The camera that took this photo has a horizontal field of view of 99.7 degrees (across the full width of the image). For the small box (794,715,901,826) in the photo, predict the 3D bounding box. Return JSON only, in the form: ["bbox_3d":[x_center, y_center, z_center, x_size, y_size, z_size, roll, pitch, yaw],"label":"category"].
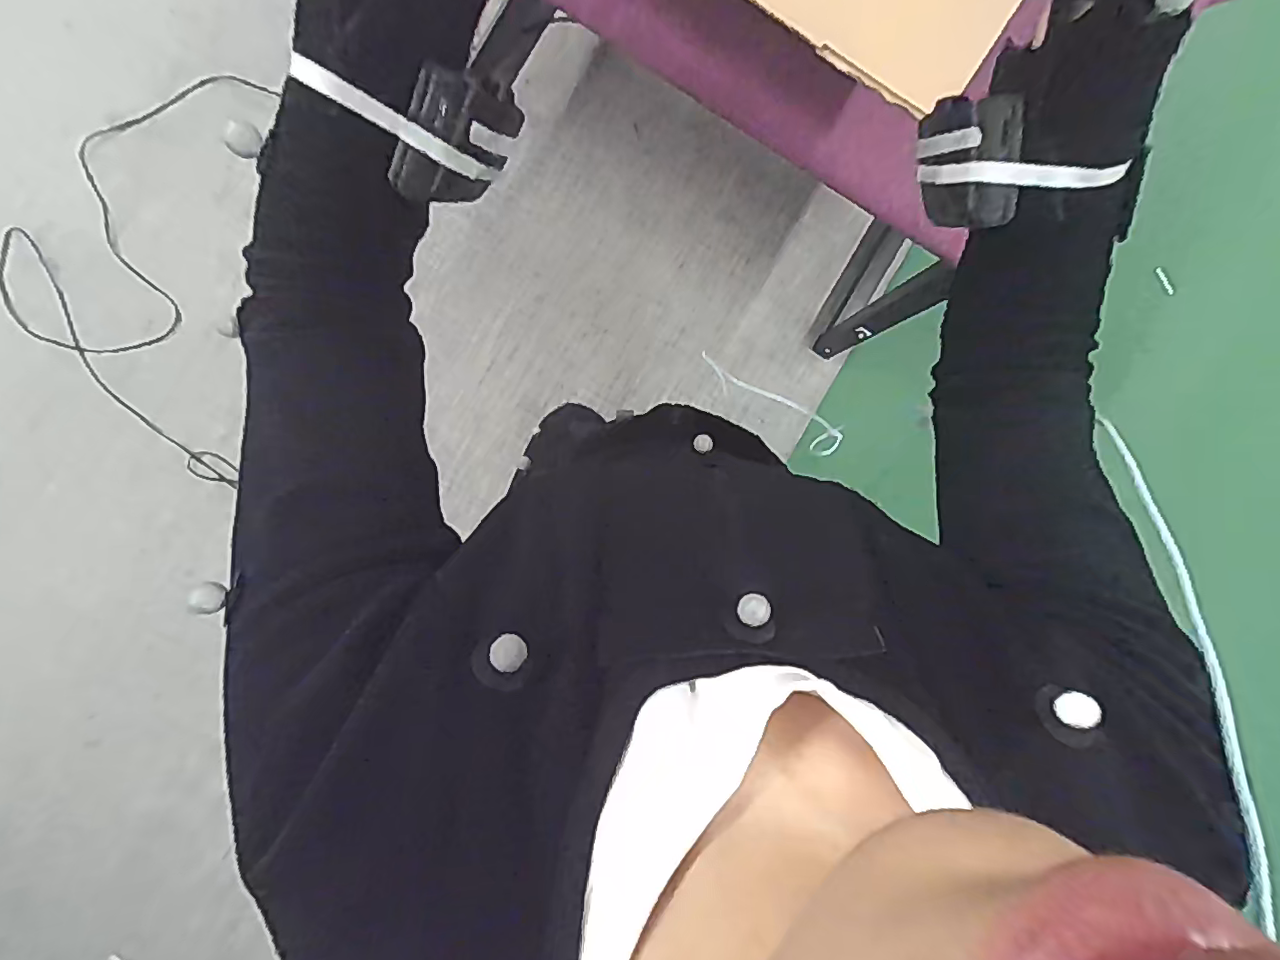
[{"bbox_3d":[0.542,0.761,1.442,0.179,0.176,0.168,33,91,-4],"label":"small box"}]
